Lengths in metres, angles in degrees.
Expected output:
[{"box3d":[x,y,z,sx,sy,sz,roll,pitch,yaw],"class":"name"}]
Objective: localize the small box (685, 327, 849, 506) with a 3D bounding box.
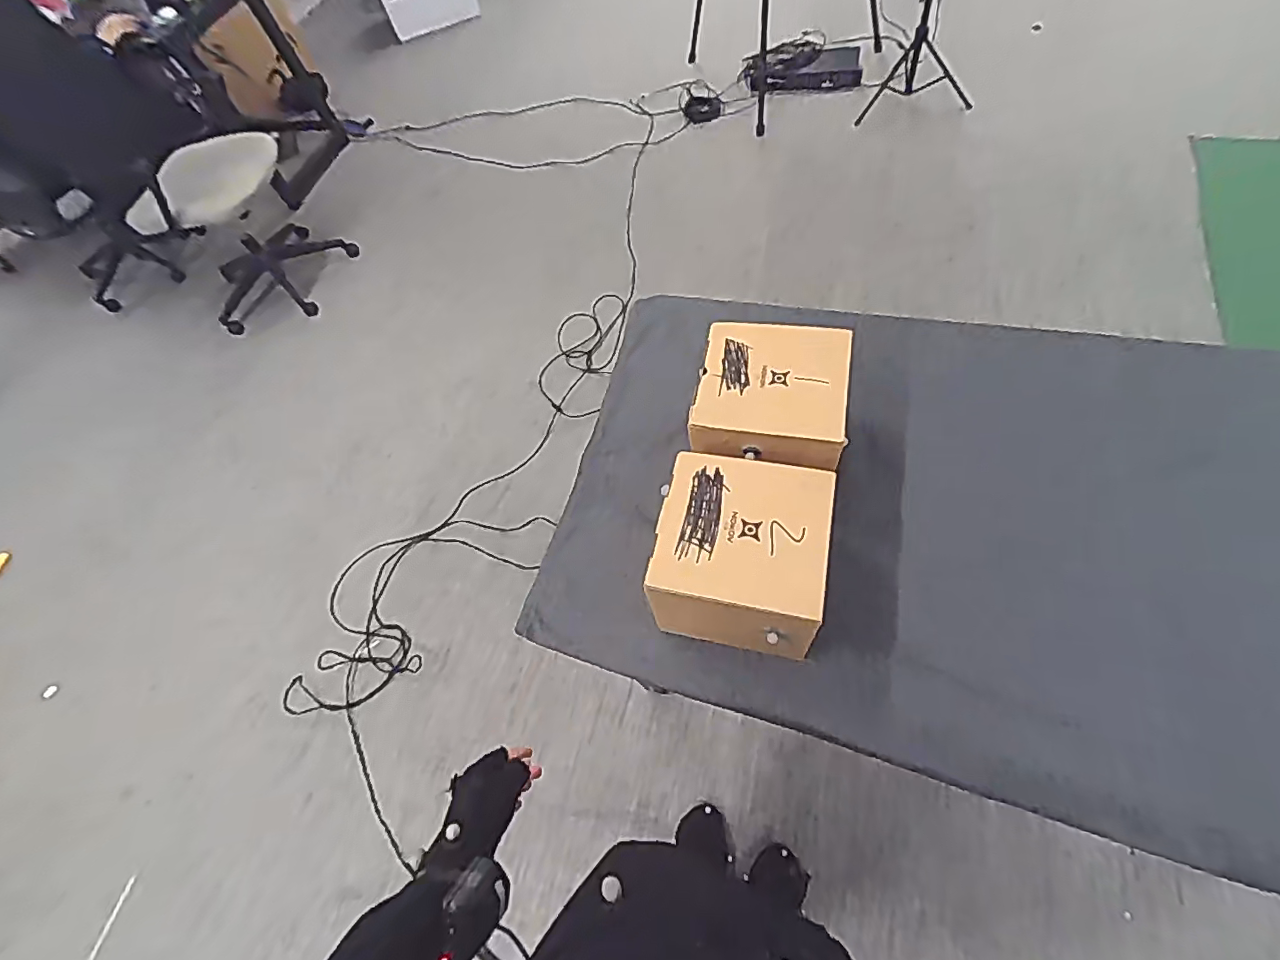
[{"box3d":[0.167,-0.079,0.716,0.179,0.176,0.168,8,63,14],"class":"small box"}]
